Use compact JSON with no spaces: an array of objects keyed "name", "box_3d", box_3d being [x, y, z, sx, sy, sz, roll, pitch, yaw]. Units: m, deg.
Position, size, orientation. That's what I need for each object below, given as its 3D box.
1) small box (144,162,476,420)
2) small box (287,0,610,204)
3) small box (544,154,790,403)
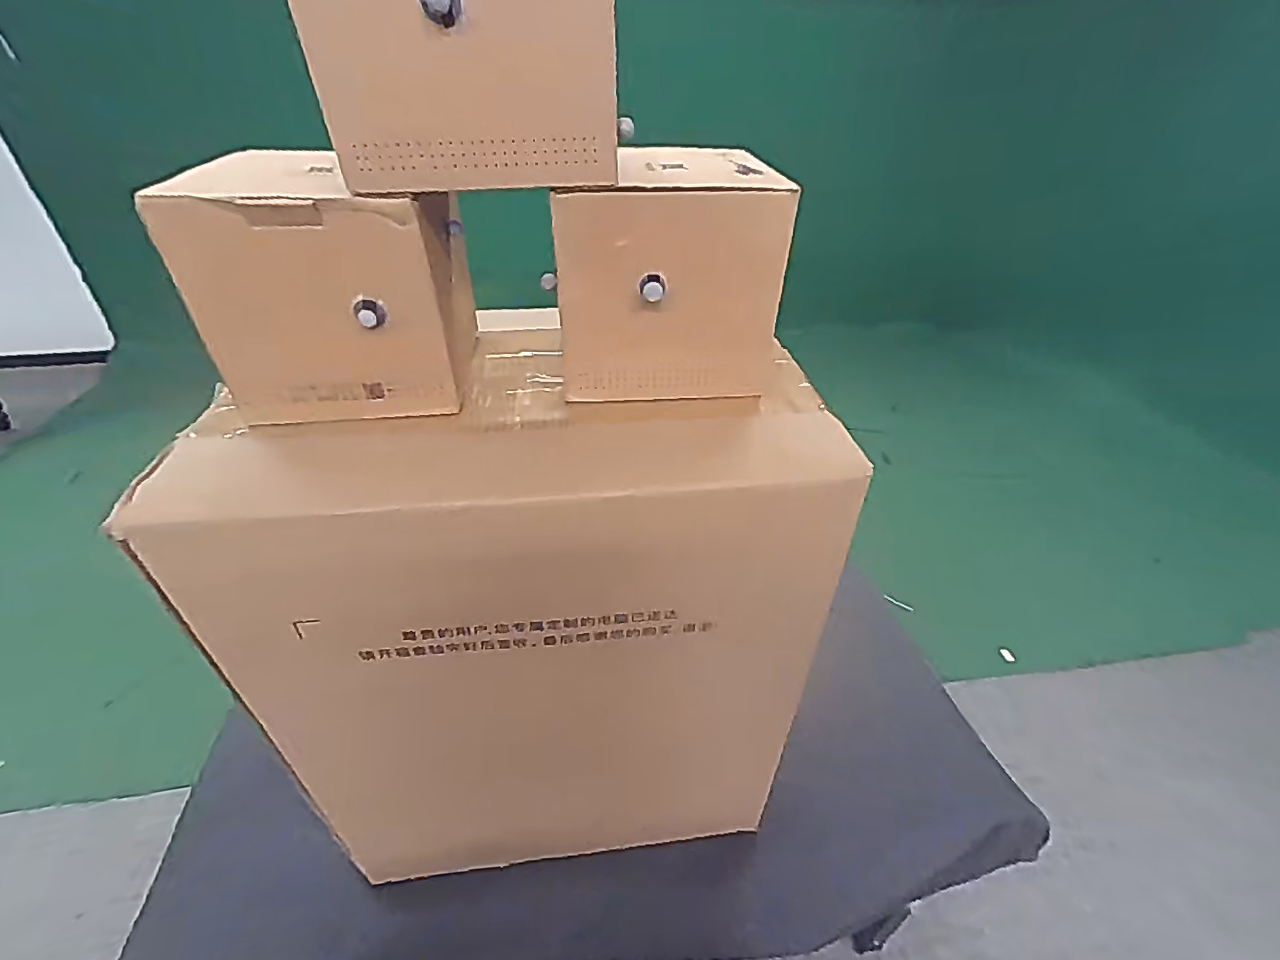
[{"name":"small box","box_3d":[-0.240,-0.159,0.456,0.168,0.176,0.179,-3,38,-8]},{"name":"small box","box_3d":[-0.113,-0.298,0.366,0.179,0.176,0.168,-6,39,-6]},{"name":"small box","box_3d":[0.015,-0.180,0.483,0.179,0.176,0.168,-4,40,-5]}]
